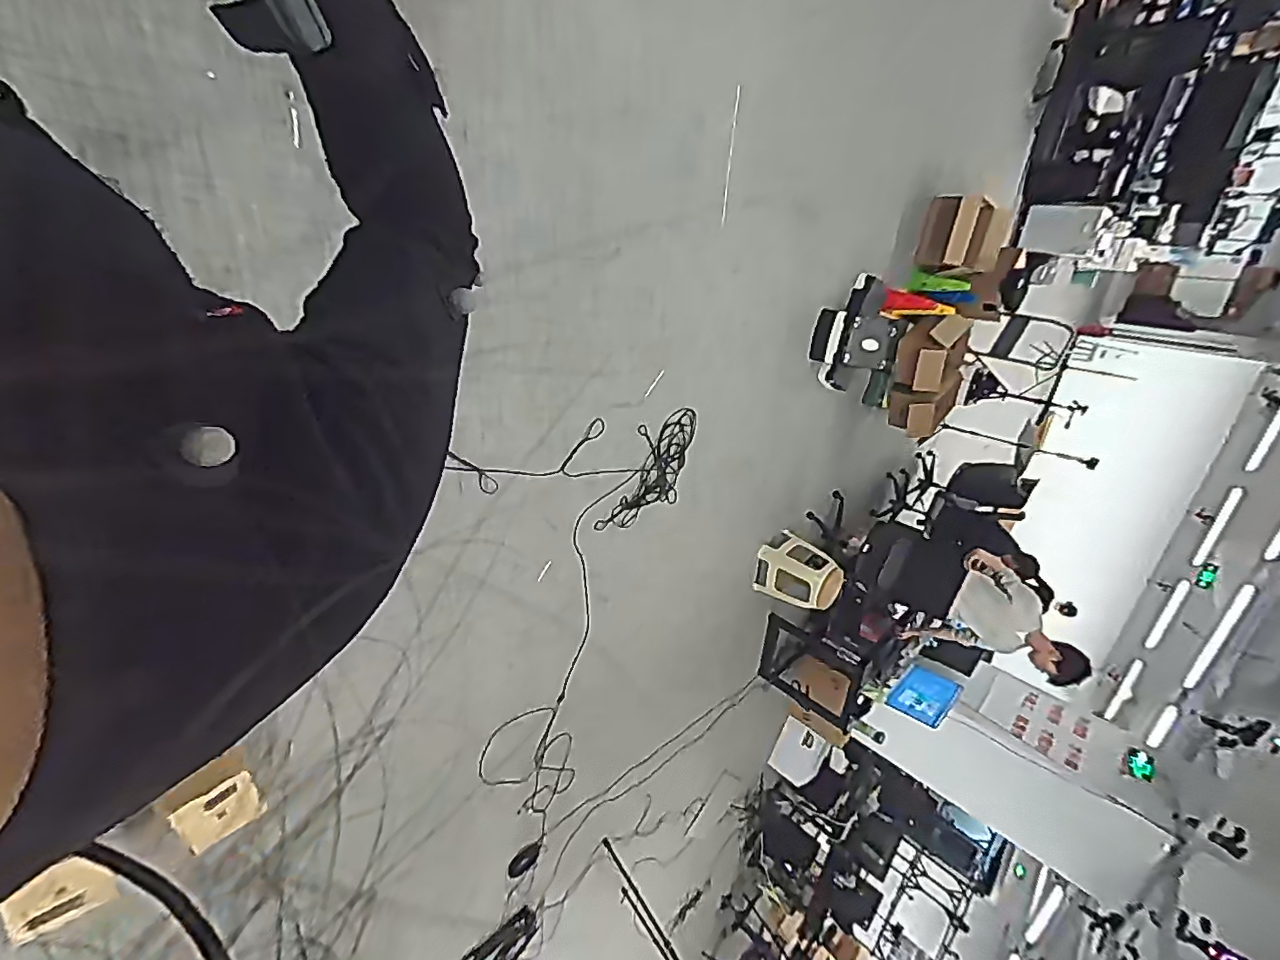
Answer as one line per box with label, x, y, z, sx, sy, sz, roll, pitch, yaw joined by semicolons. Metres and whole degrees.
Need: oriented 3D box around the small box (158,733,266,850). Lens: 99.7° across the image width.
small box;-1.121;0.801;1.415;0.168;0.176;0.179;-26;128;-37
